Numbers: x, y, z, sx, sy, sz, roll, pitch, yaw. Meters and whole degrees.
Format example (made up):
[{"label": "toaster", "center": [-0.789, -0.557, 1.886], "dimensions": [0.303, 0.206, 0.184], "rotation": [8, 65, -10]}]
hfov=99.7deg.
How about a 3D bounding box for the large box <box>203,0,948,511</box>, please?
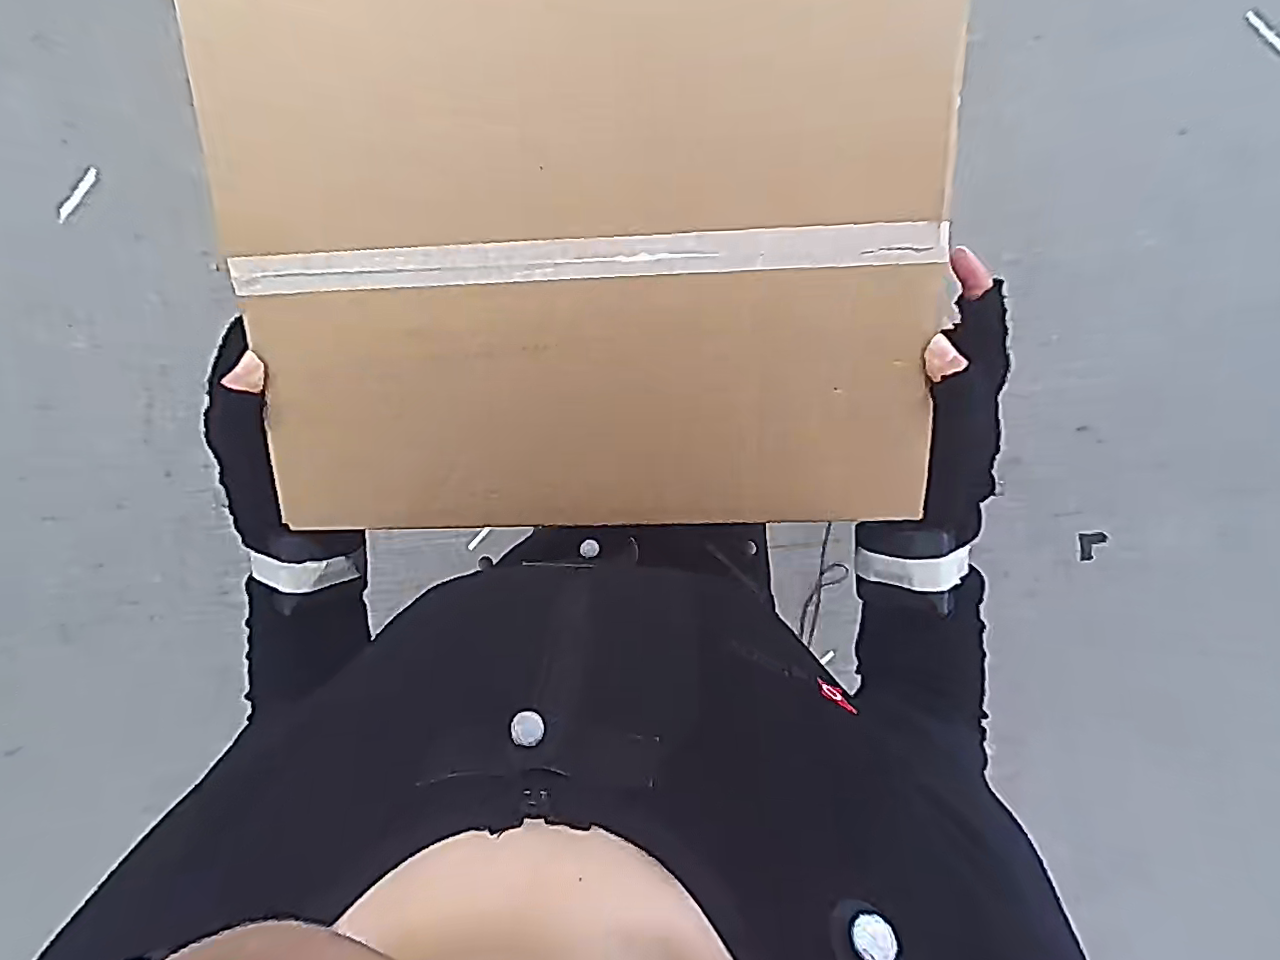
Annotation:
[{"label": "large box", "center": [-0.029, -0.170, 0.459], "dimensions": [0.408, 0.320, 0.320], "rotation": [-1, 105, 3]}]
